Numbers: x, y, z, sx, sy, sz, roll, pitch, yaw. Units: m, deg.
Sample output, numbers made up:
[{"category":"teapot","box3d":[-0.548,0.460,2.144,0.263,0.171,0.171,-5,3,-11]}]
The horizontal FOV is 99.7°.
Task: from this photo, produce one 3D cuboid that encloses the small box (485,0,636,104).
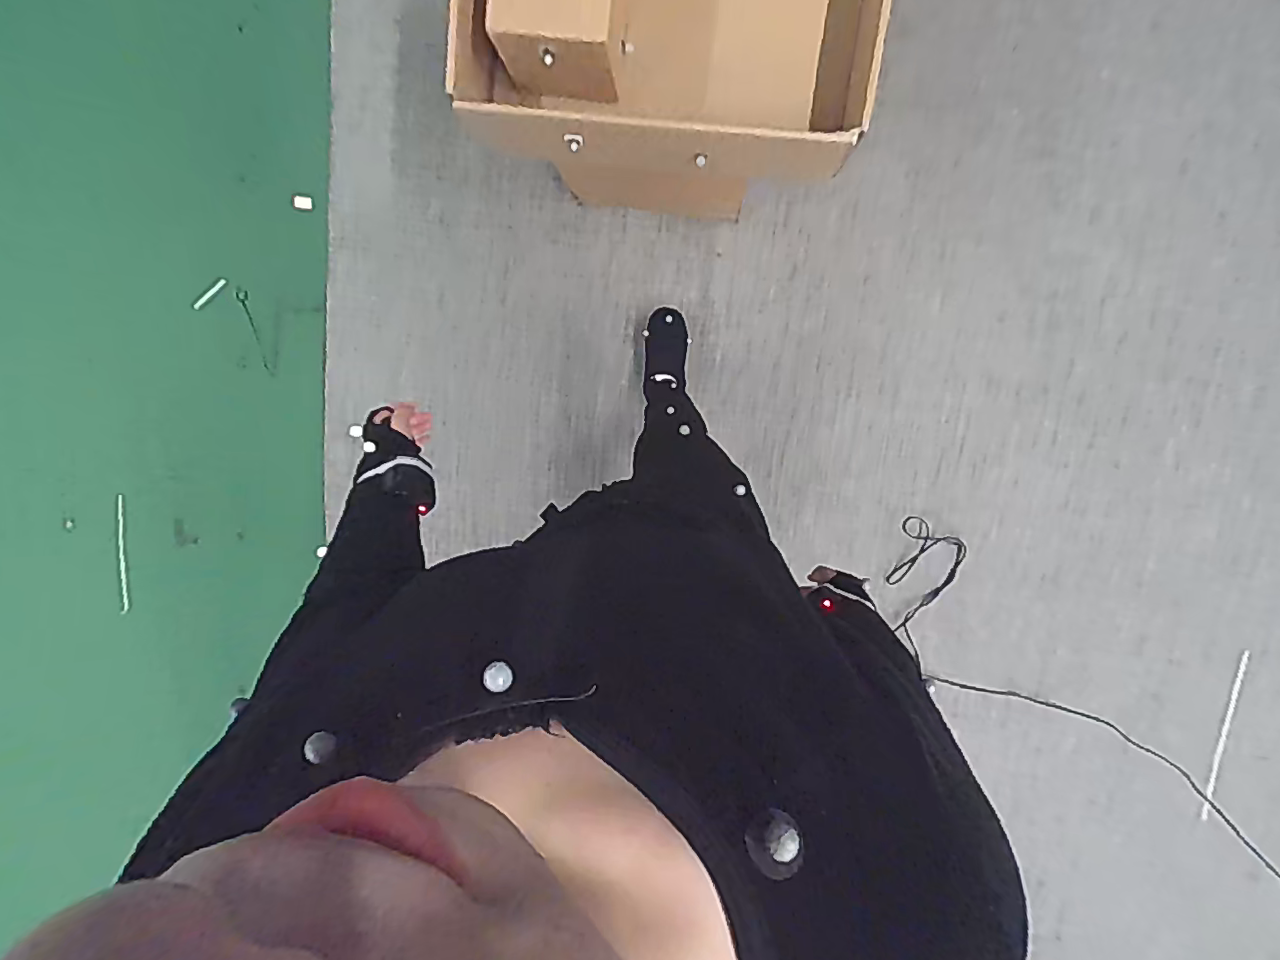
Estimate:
[{"category":"small box","box3d":[-0.112,-0.701,0.813,0.179,0.176,0.168,9,100,5]}]
